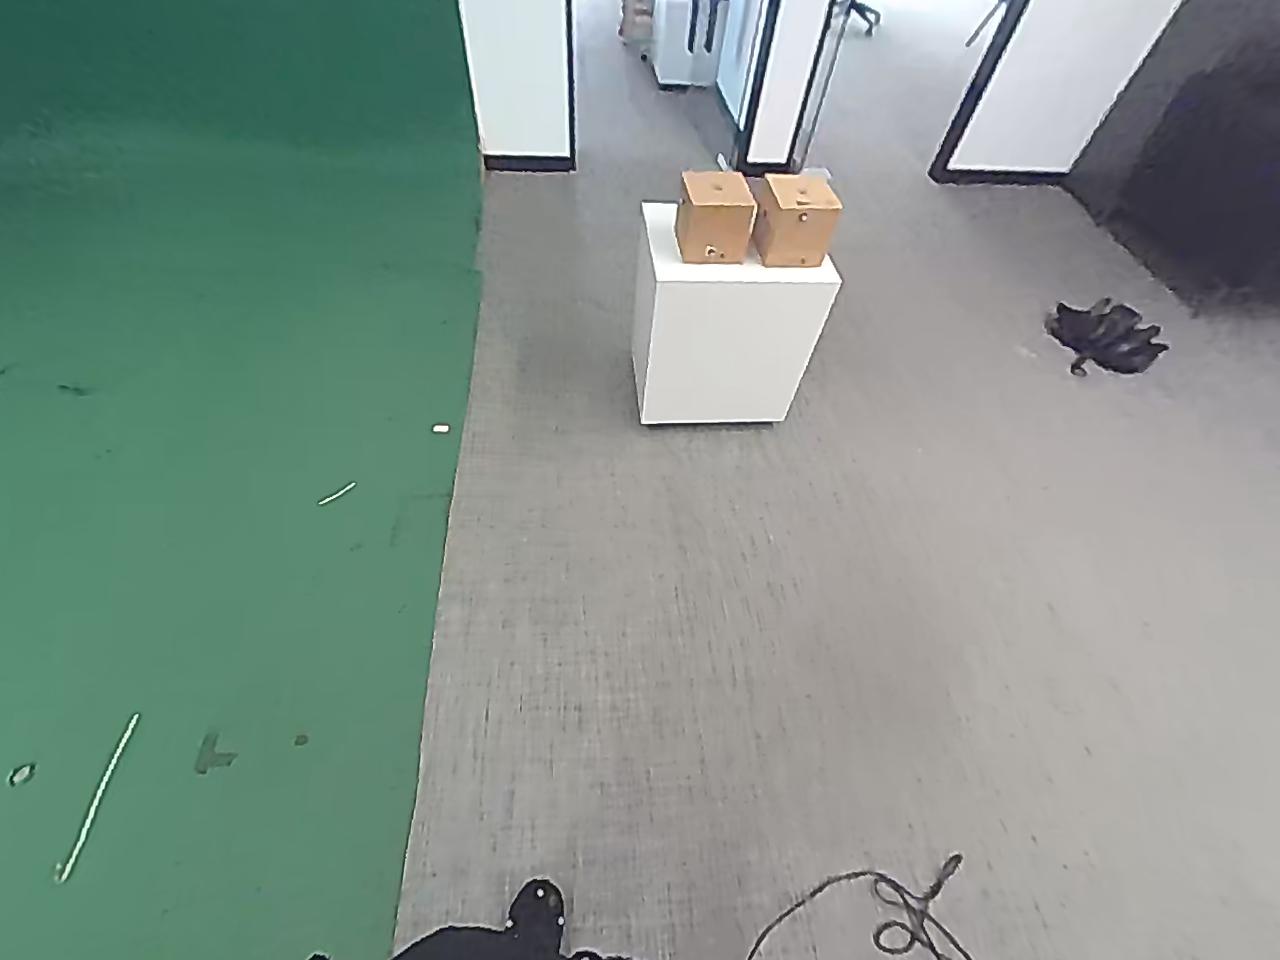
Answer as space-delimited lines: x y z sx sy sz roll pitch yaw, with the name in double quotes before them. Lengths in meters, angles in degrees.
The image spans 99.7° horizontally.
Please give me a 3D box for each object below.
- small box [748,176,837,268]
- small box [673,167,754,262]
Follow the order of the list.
"small box" 0.405 -0.700 1.471 0.168 0.176 0.179 -3 53 -6
"small box" 0.187 -0.707 1.442 0.168 0.176 0.179 -4 56 -7
